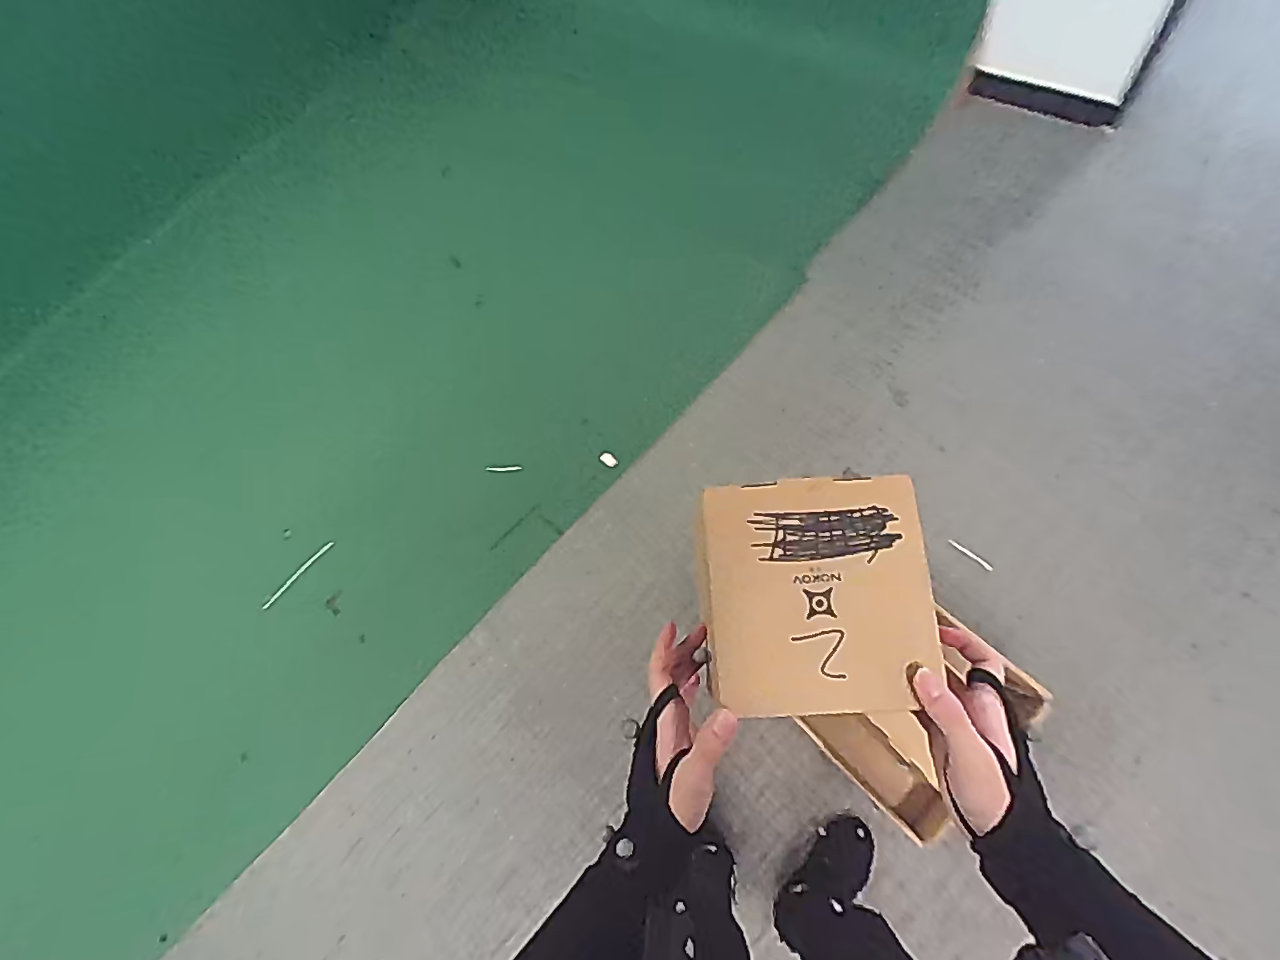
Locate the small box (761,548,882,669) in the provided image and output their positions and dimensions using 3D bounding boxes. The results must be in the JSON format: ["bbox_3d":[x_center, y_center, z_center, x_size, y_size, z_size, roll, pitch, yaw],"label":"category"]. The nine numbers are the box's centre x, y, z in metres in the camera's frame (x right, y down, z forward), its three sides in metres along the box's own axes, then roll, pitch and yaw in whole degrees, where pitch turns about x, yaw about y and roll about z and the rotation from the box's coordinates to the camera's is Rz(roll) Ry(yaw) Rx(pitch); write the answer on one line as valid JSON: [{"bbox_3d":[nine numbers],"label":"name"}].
[{"bbox_3d":[0.378,0.276,1.138,0.168,0.176,0.179,39,82,26],"label":"small box"}]

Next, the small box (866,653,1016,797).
[{"bbox_3d":[0.545,0.453,1.011,0.179,0.176,0.168,-42,63,-3],"label":"small box"}]

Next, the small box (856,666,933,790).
[{"bbox_3d":[0.589,0.519,1.153,0.168,0.176,0.179,-42,62,-3],"label":"small box"}]
